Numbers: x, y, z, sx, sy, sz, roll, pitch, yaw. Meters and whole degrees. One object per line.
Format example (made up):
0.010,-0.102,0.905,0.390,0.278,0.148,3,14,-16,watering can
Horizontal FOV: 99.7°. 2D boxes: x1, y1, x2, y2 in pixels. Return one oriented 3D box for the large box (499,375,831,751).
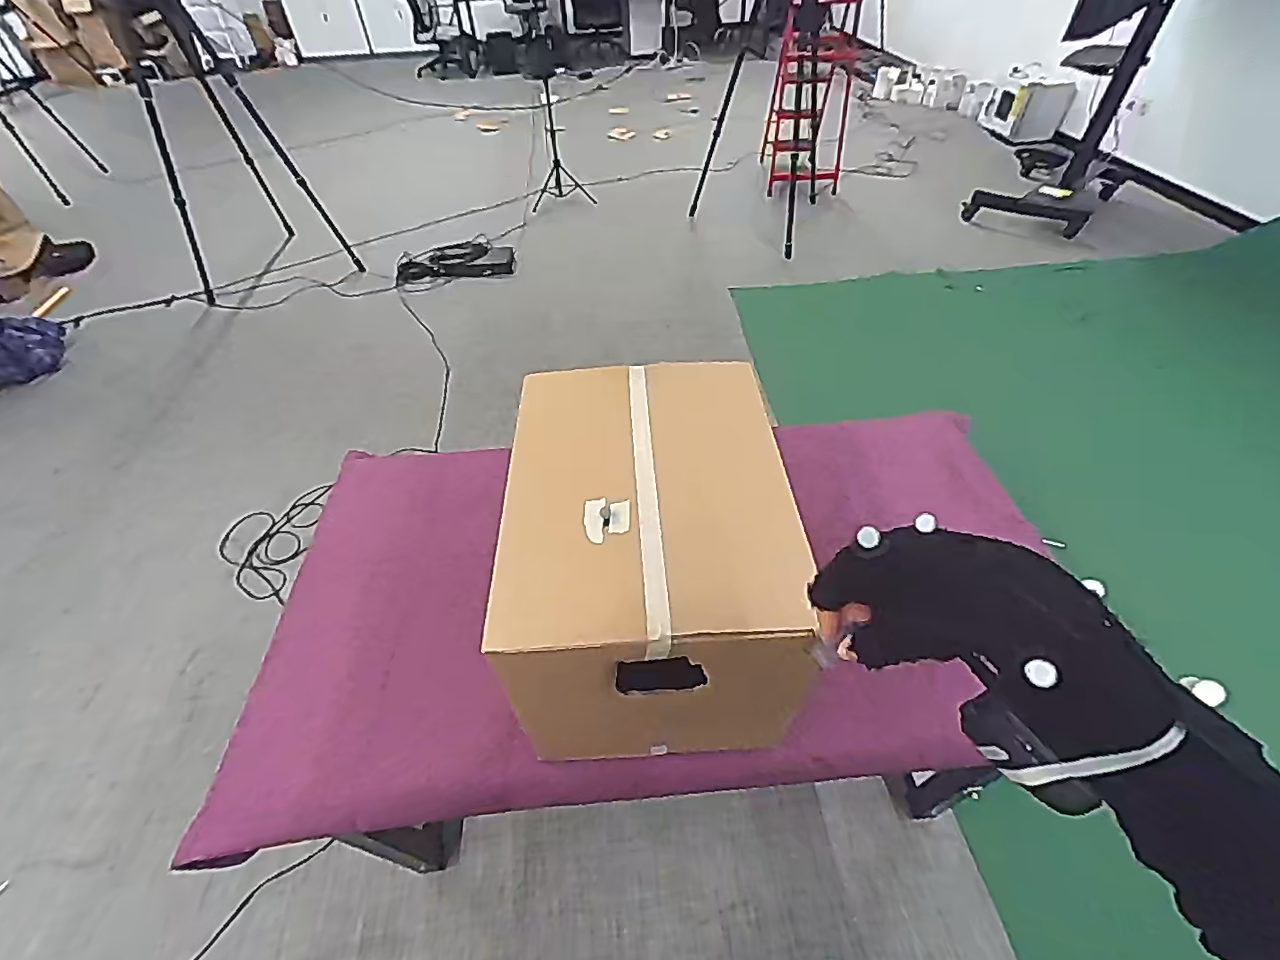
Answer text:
0.014,0.104,0.733,0.320,0.320,0.408,-3,48,-1,large box
